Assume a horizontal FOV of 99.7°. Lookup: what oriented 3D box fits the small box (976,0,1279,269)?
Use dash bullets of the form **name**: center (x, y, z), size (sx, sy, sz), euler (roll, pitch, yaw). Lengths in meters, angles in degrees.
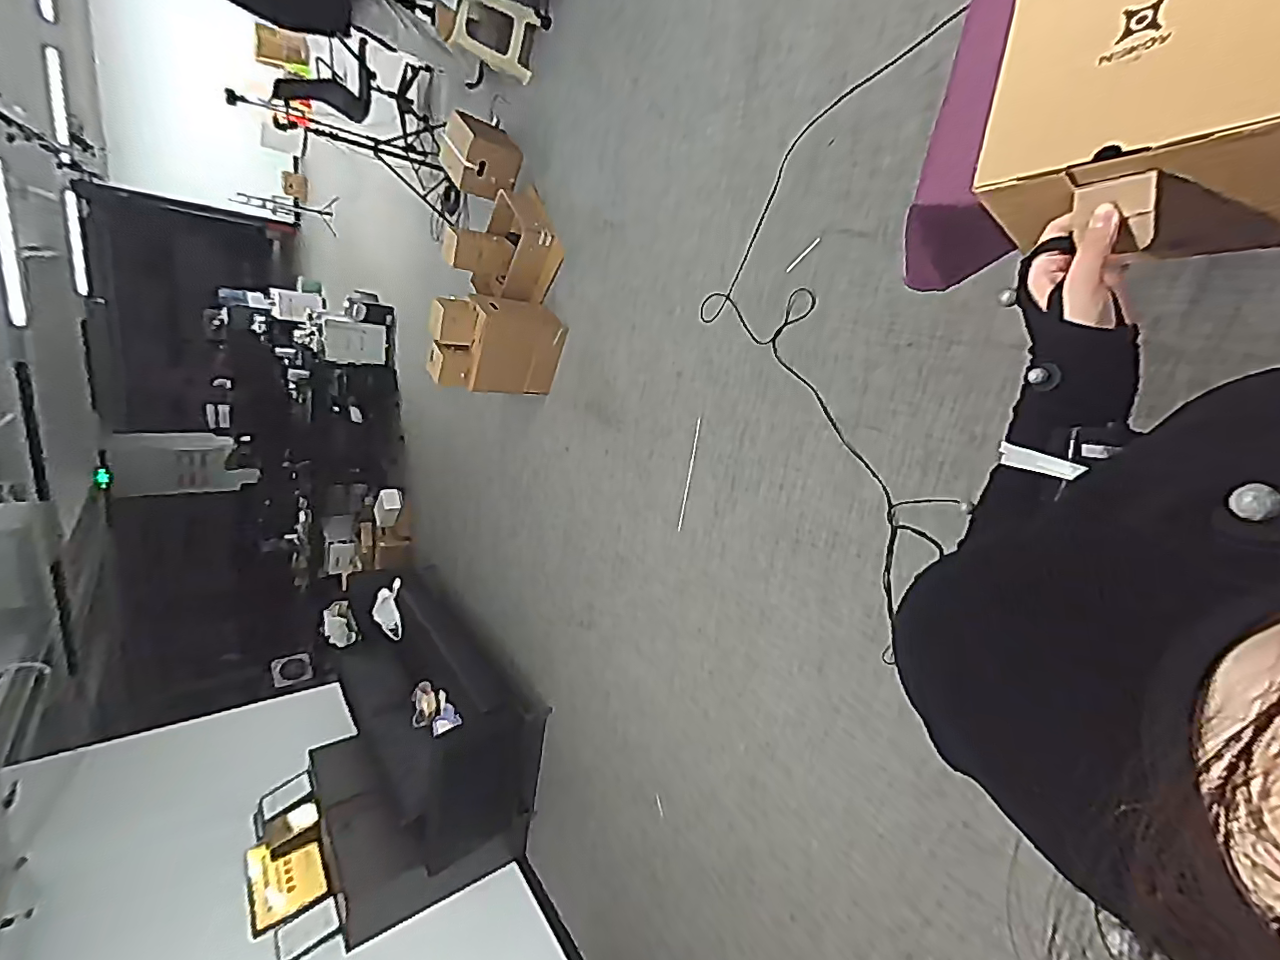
- **small box**: center (0.399, -0.289, 0.420), size (0.168, 0.176, 0.179), euler (15, 95, 52)
